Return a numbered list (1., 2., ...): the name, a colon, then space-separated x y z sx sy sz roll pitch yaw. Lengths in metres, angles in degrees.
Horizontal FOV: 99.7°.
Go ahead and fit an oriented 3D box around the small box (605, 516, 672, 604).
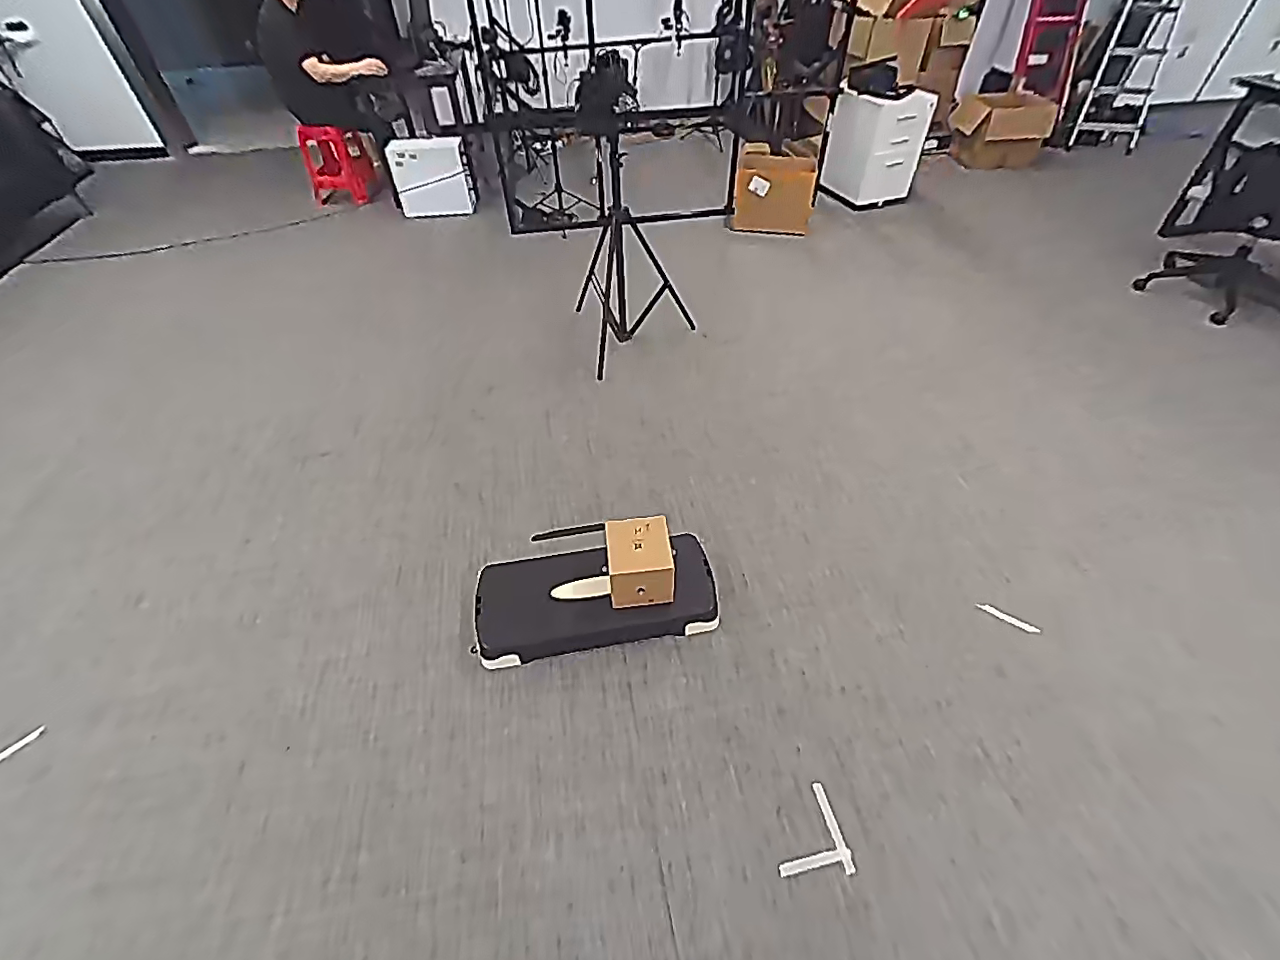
1. small box: -0.004 0.222 1.460 0.168 0.176 0.179 -5 46 -4
